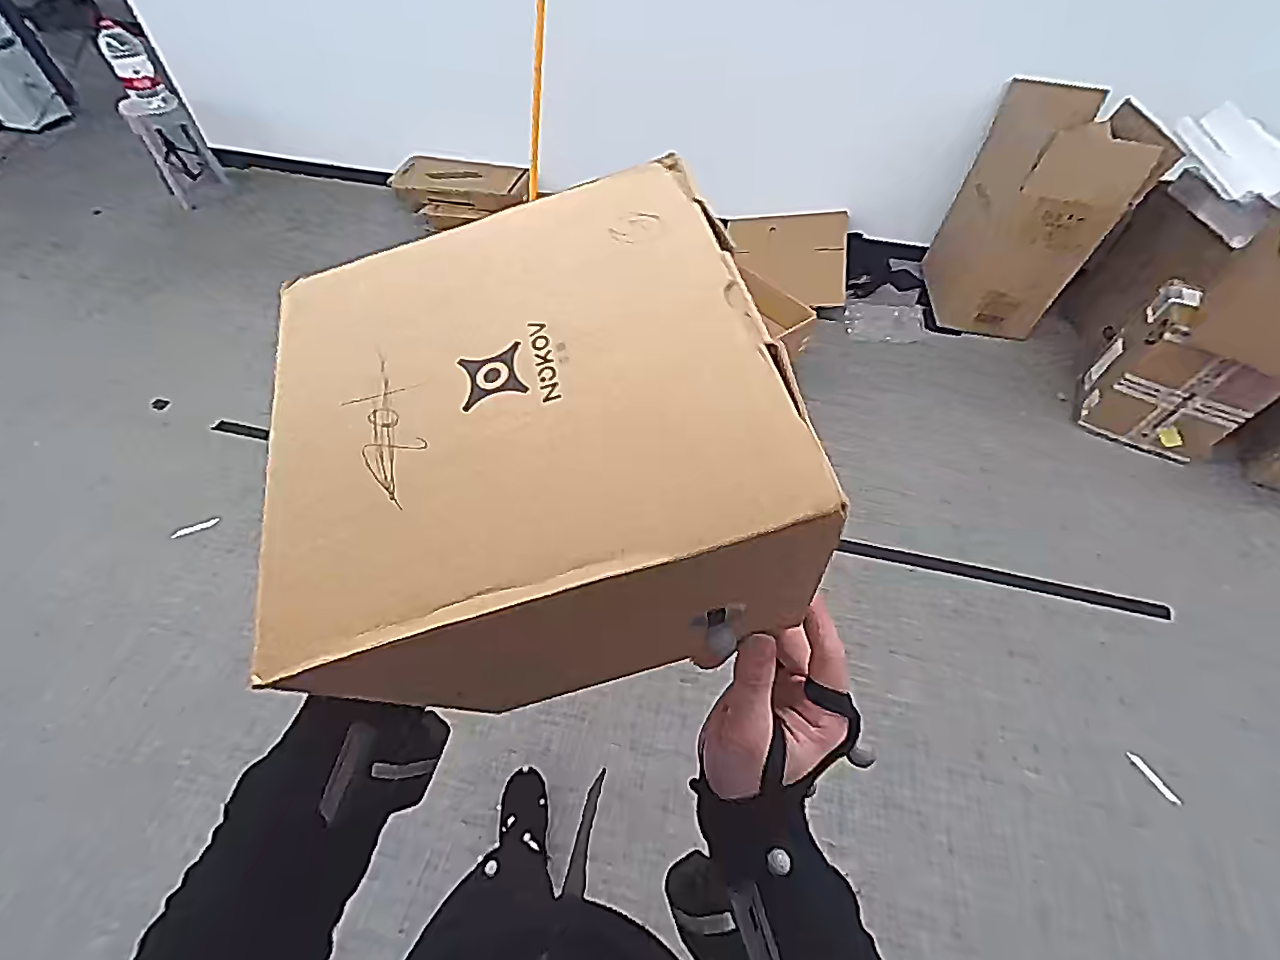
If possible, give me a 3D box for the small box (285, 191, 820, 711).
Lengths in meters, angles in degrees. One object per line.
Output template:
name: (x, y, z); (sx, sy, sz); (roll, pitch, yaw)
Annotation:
small box: (-0.033, 0.005, 0.271); (0.179, 0.176, 0.168); (-19, 61, 3)
